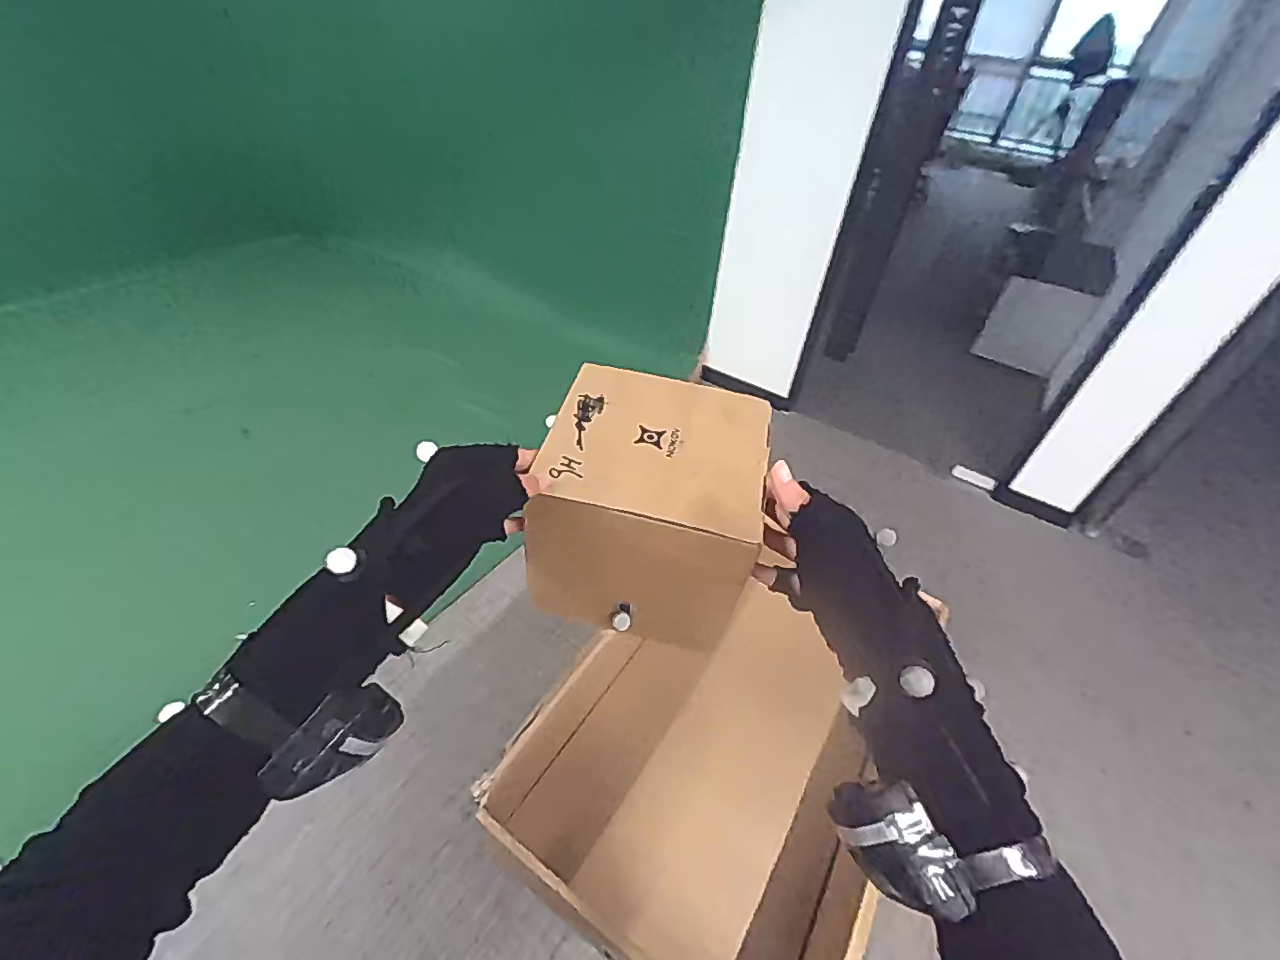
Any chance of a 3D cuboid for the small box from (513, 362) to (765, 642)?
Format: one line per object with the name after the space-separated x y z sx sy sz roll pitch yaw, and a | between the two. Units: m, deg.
0.001 0.024 0.487 0.179 0.176 0.168 13 46 3 | small box
